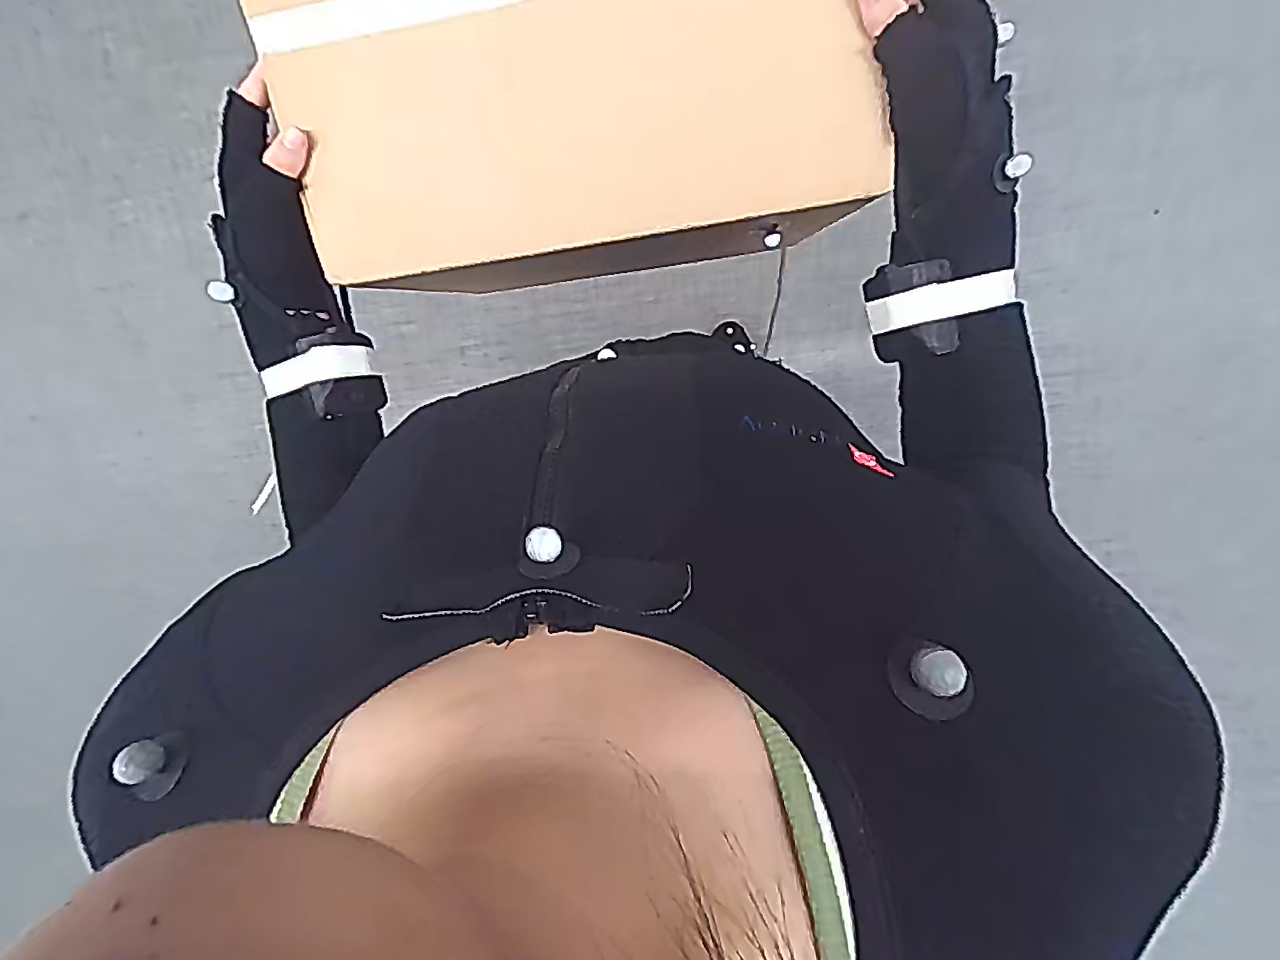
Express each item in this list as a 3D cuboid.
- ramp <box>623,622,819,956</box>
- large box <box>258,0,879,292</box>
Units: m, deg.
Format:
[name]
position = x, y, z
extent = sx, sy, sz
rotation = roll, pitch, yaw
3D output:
[ramp]
position = 0.236, 0.927, 1.608
extent = 0.509, 0.206, 0.991
rotation = -7, 102, 9
[large box]
position = -0.043, -0.361, 0.488
extent = 0.408, 0.320, 0.320
rotation = -7, 107, 6
